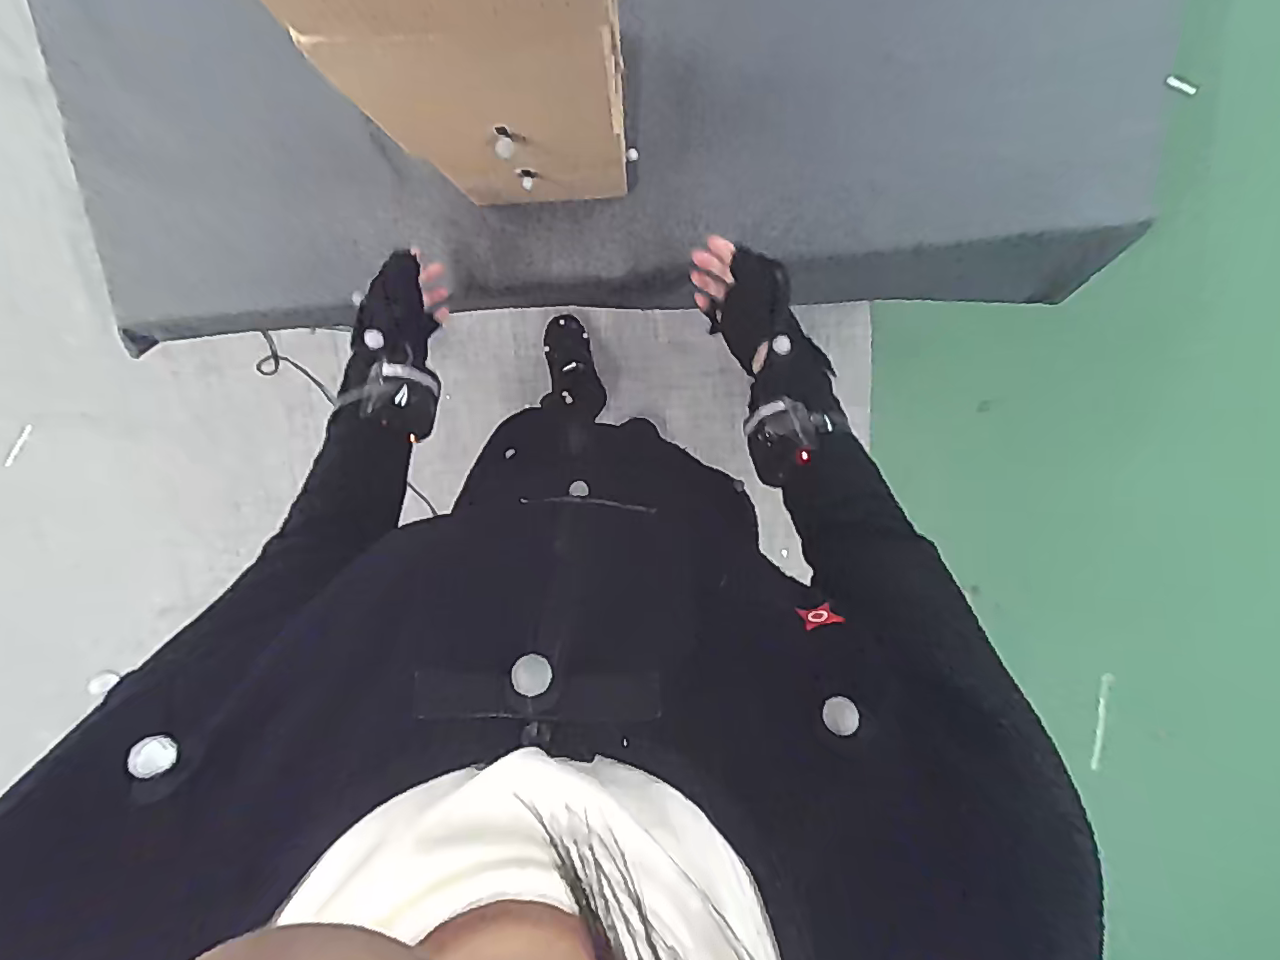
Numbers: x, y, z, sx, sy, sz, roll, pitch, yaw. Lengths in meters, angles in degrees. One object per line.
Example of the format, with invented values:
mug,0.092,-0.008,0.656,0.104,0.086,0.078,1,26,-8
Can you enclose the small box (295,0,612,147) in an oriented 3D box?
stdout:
small box,-0.109,-0.347,0.364,0.179,0.176,0.168,-2,101,0

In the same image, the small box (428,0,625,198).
small box,-0.105,-0.388,0.522,0.179,0.176,0.168,-2,101,2

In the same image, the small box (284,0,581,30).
small box,-0.102,-0.314,0.205,0.179,0.176,0.168,-1,100,2
